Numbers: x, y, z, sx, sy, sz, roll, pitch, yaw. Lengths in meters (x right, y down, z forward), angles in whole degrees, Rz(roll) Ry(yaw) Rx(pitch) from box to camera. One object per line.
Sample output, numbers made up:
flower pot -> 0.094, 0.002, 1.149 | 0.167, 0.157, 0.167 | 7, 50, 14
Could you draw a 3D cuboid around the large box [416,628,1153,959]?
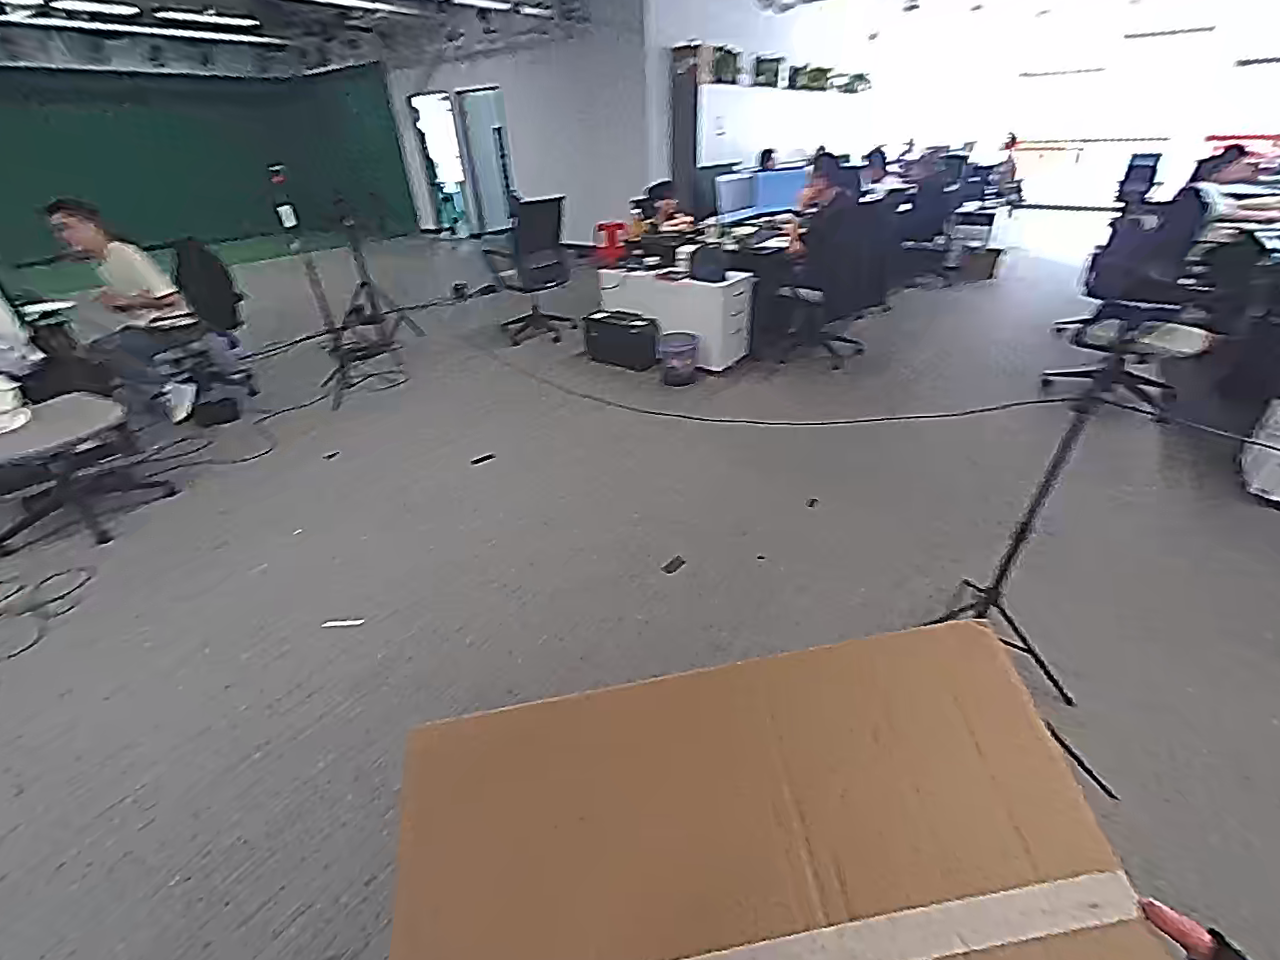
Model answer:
large box -> 0.082, 0.346, 0.420 | 0.408, 0.320, 0.320 | -10, 58, -1
